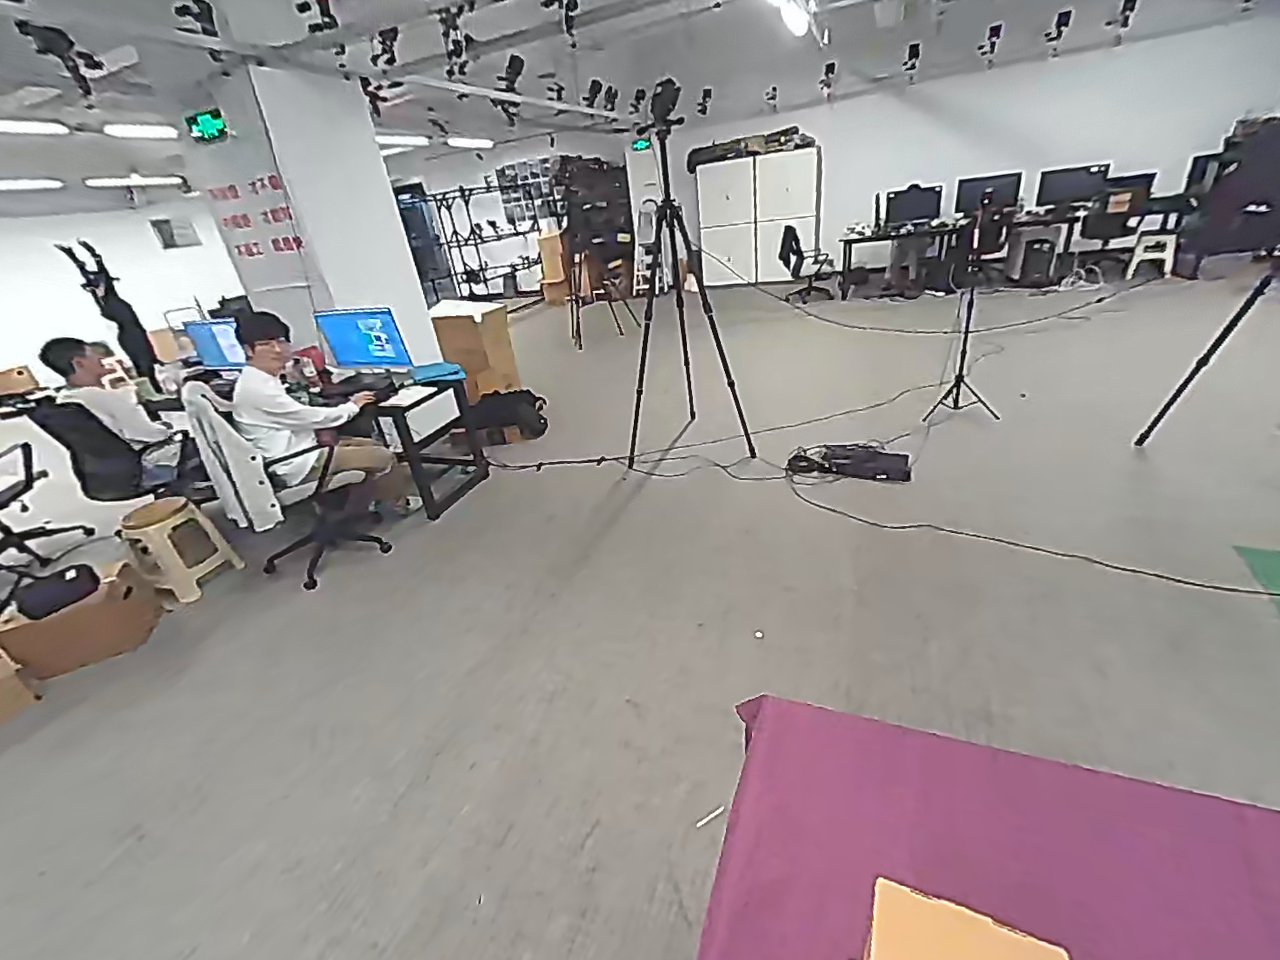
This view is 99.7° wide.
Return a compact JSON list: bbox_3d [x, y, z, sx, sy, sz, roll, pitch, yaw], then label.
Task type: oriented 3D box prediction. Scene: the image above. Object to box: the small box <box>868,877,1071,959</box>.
[{"bbox_3d":[0.299,0.539,0.508,0.168,0.176,0.179,6,30,27],"label":"small box"}]
